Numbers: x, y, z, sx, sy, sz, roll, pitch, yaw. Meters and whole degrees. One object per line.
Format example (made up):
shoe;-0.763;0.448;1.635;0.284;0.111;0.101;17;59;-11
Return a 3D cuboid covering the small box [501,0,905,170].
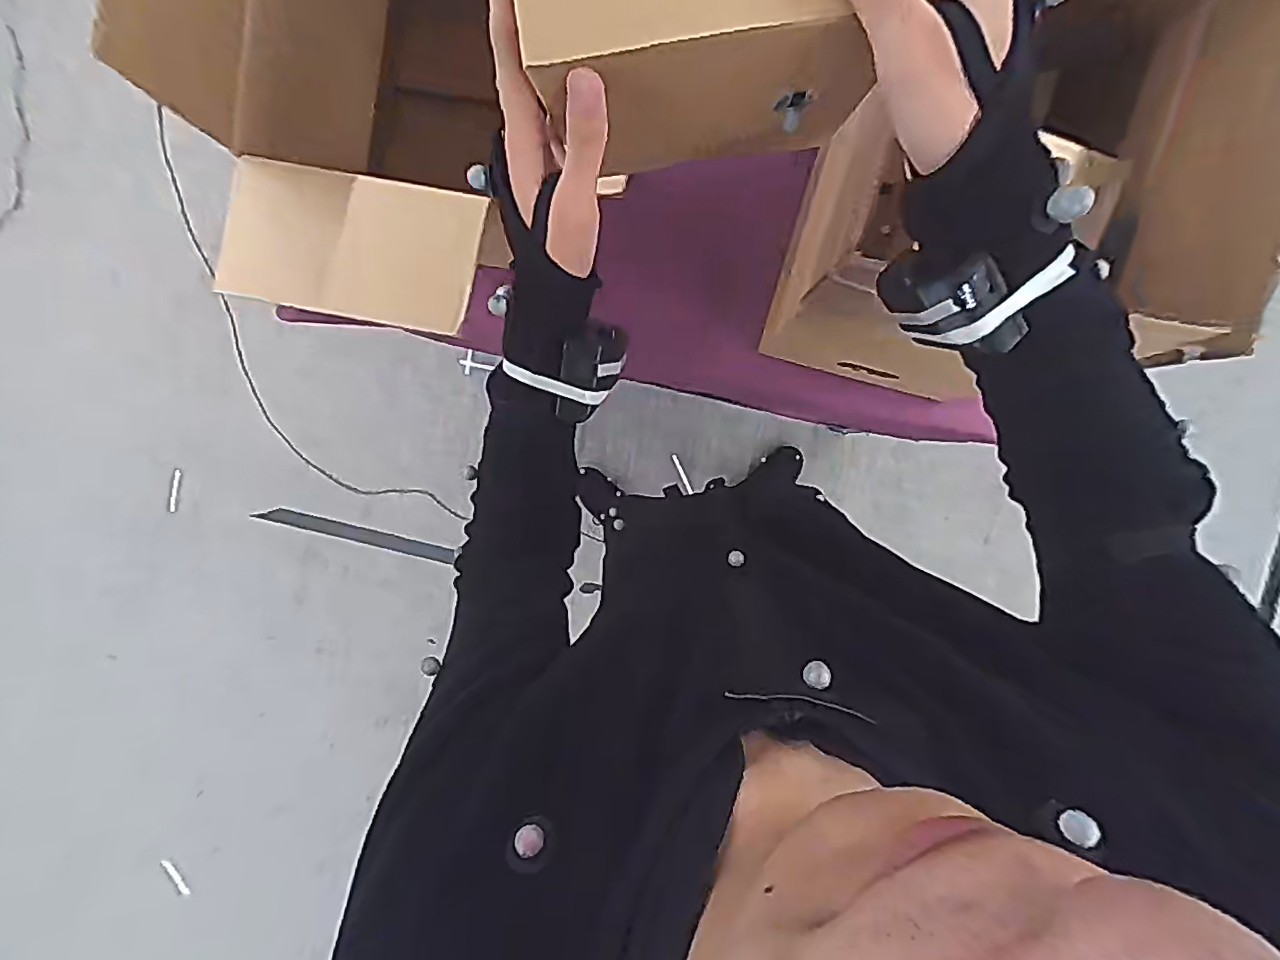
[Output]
small box;0.023;-0.290;0.291;0.179;0.176;0.168;-6;103;5
